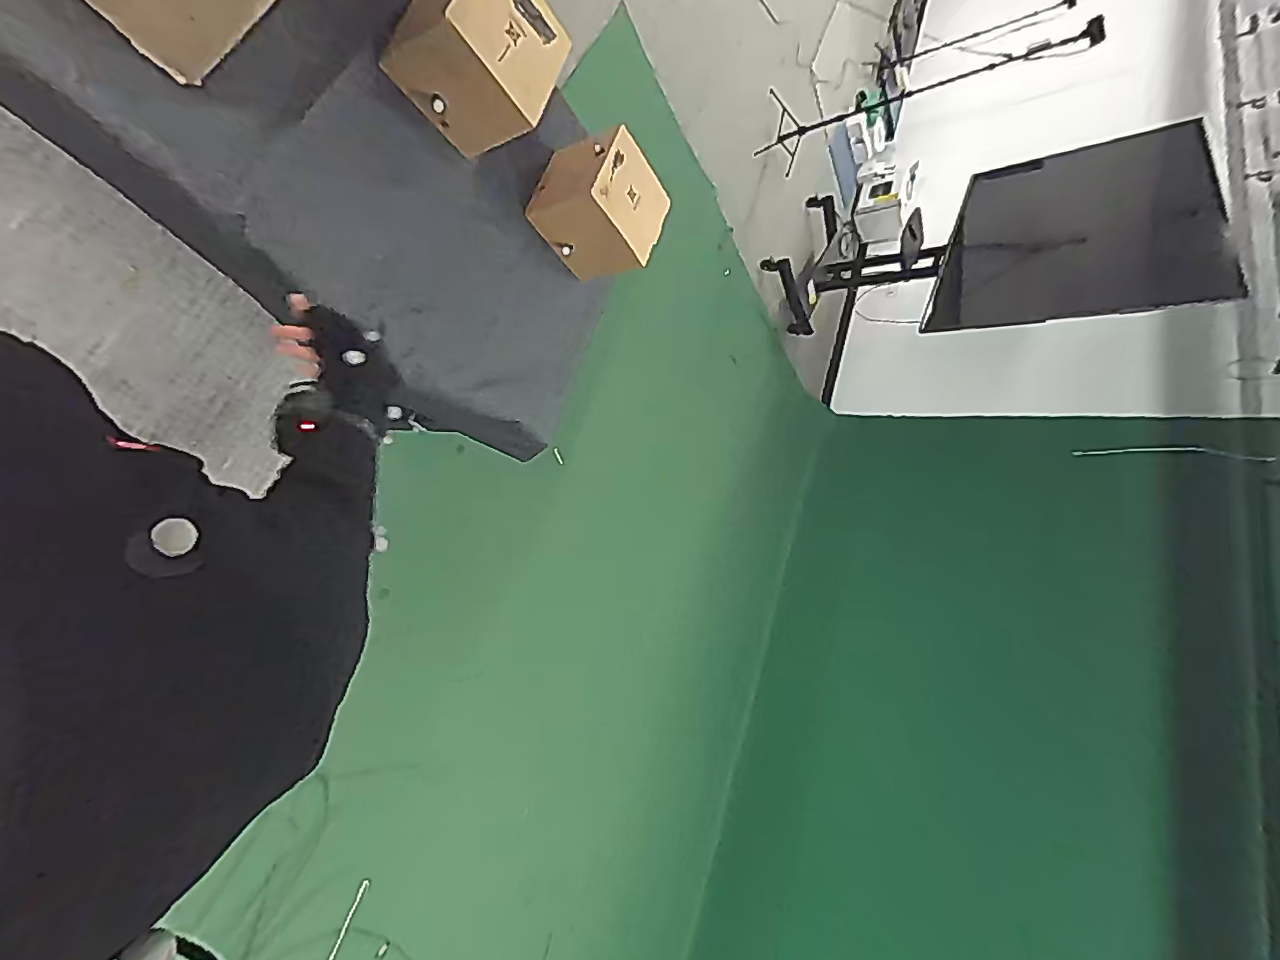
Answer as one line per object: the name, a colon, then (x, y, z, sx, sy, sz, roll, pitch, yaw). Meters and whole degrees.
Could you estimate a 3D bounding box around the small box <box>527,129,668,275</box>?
small box: (-0.079, -0.512, 1.025, 0.179, 0.176, 0.168, 40, 62, -48)
